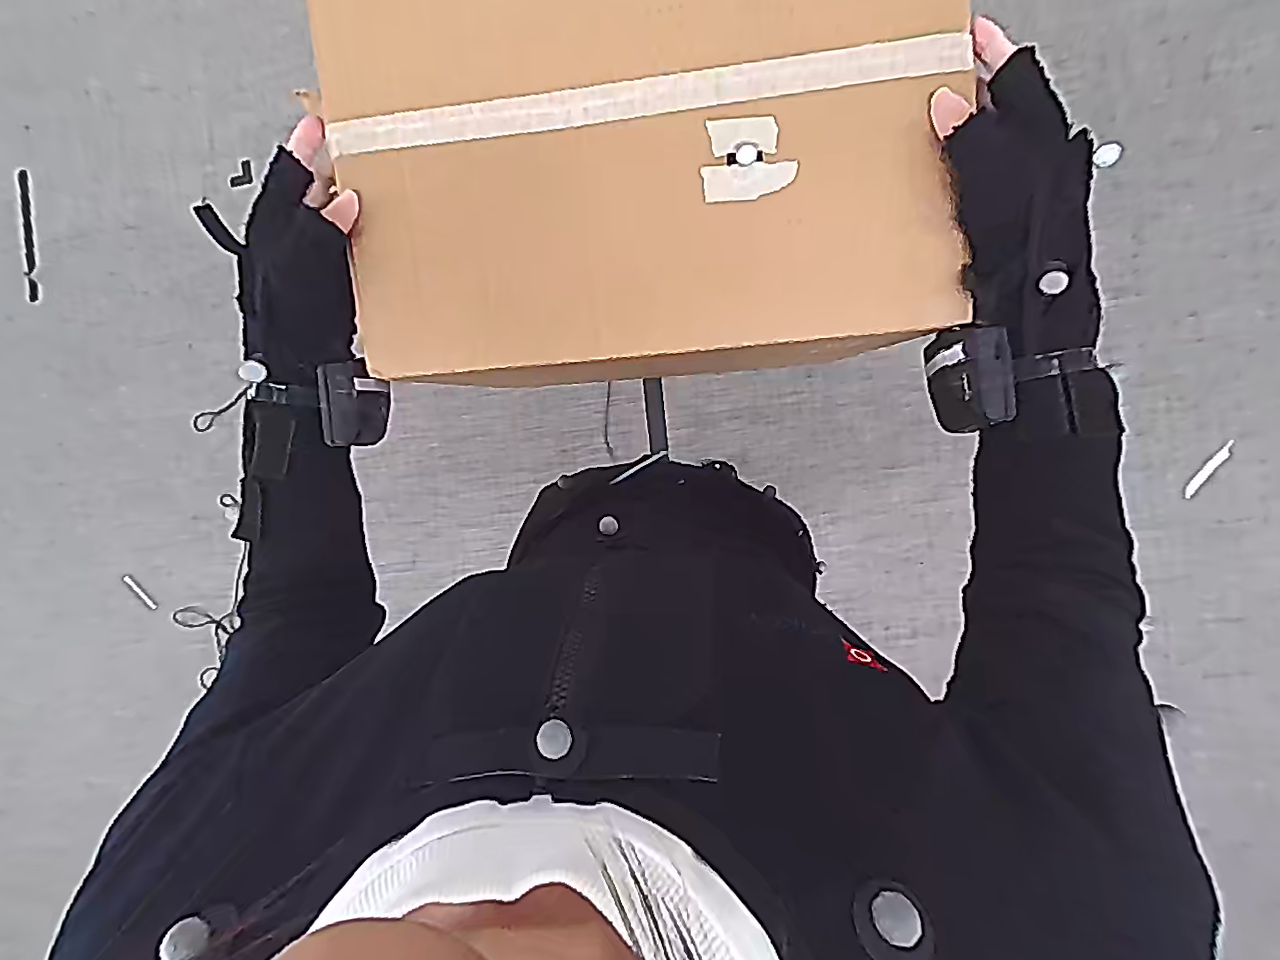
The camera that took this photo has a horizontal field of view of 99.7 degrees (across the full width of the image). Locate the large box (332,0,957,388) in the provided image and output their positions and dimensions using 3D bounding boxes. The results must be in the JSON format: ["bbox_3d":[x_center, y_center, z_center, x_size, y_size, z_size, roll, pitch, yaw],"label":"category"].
[{"bbox_3d":[0.008,-0.265,0.503,0.408,0.320,0.320,-5,99,4],"label":"large box"}]
